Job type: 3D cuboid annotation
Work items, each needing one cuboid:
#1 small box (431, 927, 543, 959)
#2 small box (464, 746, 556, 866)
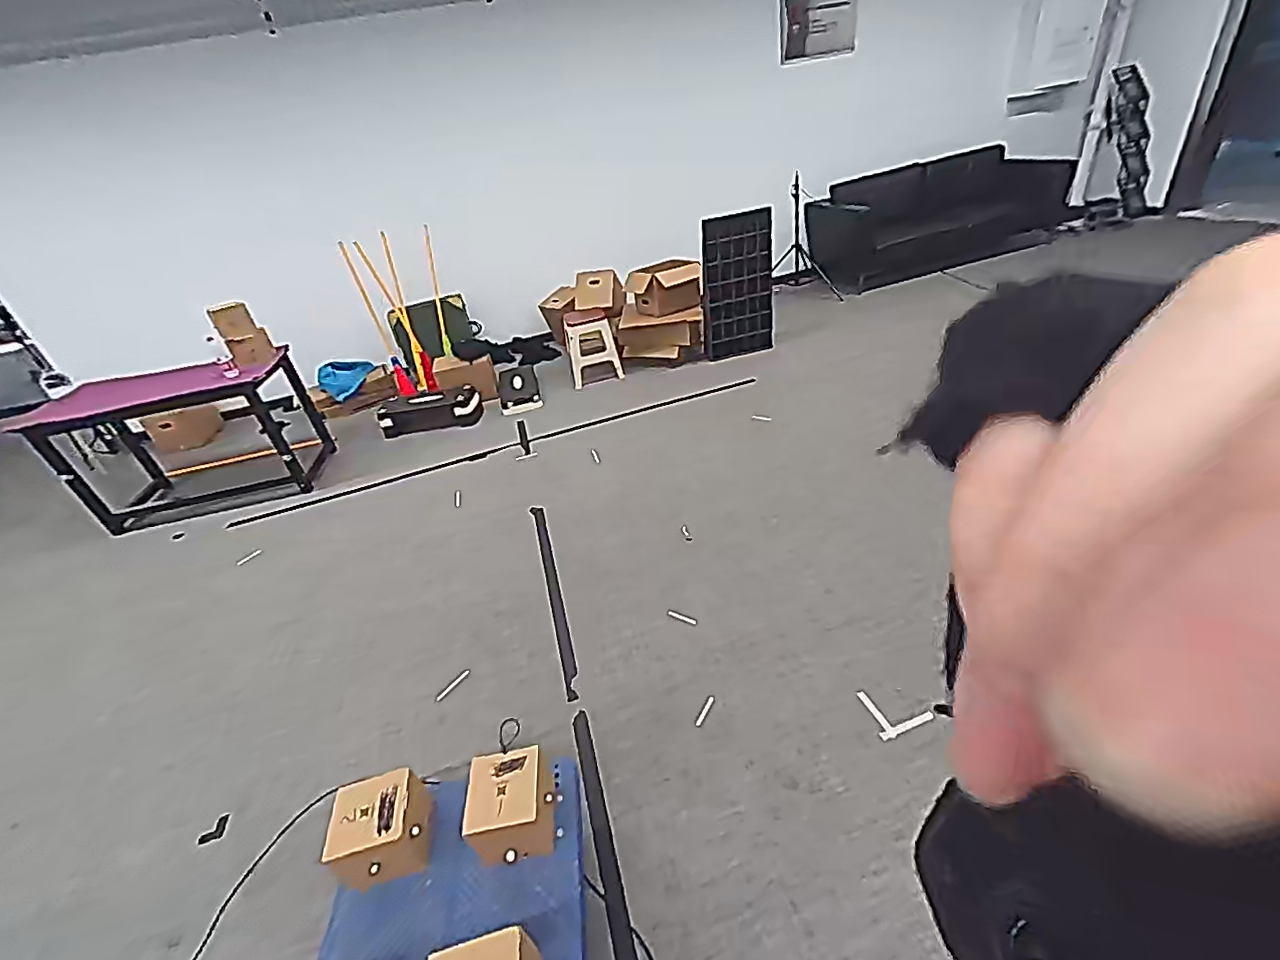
[{"bbox_3d":[-0.274,0.967,0.982,0.179,0.176,0.168,-15,33,-6],"label":"small box"},{"bbox_3d":[-0.299,0.772,1.282,0.168,0.176,0.179,-11,34,-1],"label":"small box"}]
